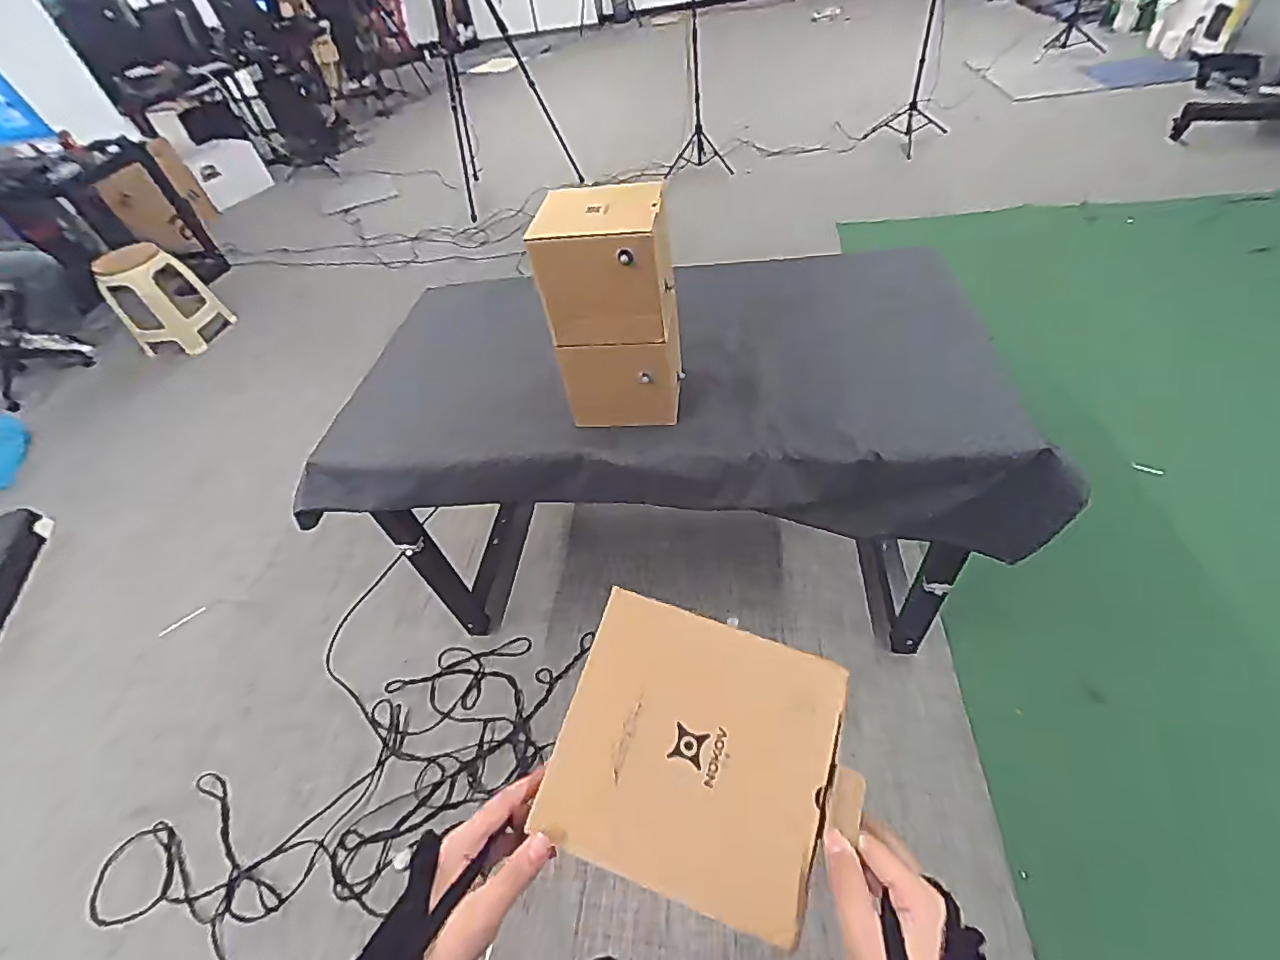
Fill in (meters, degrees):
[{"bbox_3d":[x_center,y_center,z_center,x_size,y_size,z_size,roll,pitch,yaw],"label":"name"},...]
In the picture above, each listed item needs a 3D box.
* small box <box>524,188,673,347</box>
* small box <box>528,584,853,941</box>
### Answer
[{"bbox_3d":[-0.050,-0.311,0.804,0.179,0.176,0.168,1,48,9],"label":"small box"},{"bbox_3d":[0.041,0.201,0.423,0.179,0.176,0.168,16,67,11],"label":"small box"}]
